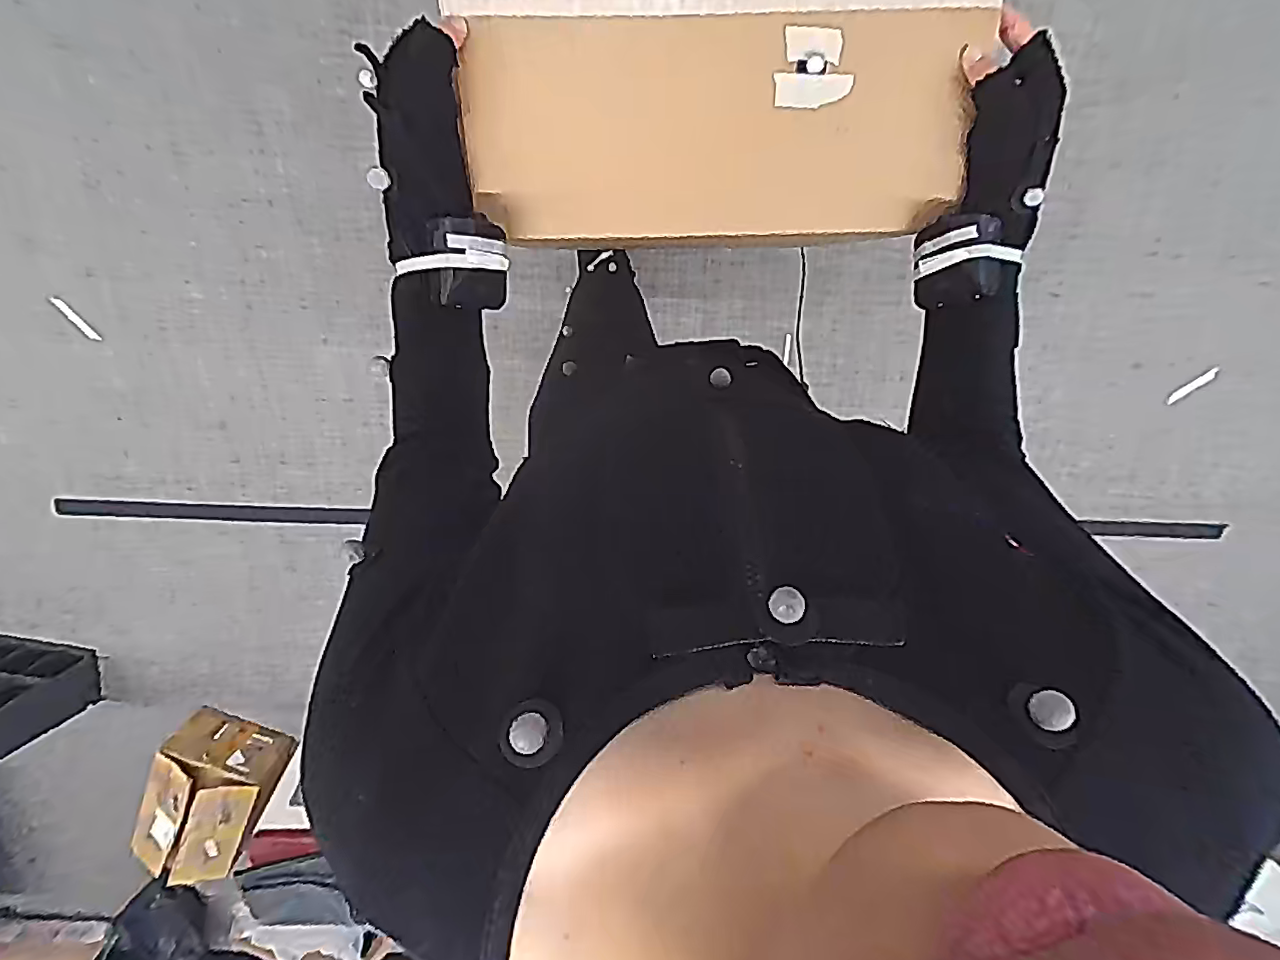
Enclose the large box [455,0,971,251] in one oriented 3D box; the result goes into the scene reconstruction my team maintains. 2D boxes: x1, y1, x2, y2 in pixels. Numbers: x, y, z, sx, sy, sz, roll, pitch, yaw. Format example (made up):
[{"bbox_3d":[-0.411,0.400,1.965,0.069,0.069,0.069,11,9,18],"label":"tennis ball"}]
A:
[{"bbox_3d":[0.051,-0.414,0.550,0.408,0.320,0.320,-3,112,-2],"label":"large box"}]
